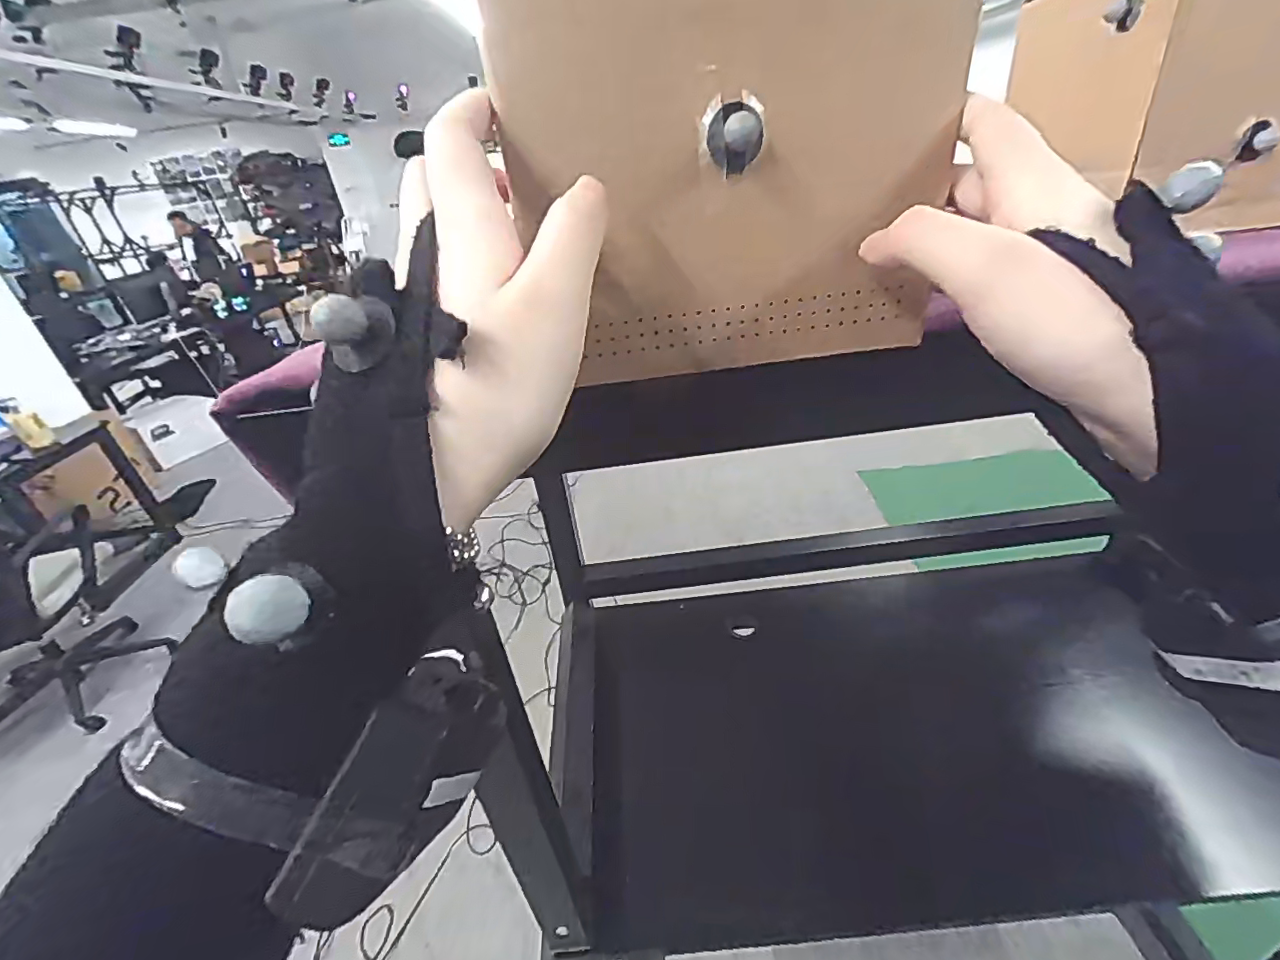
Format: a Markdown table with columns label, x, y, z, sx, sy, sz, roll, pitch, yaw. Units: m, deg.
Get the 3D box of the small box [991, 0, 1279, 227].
| label | x | y | z | sx | sy | sz | roll | pitch | yaw |
| --- | --- | --- | --- | --- | --- | --- | --- | --- | --- |
| small box | 0.389 | -0.285 | 0.387 | 0.168 | 0.176 | 0.179 | -5 | 30 | 5 |
